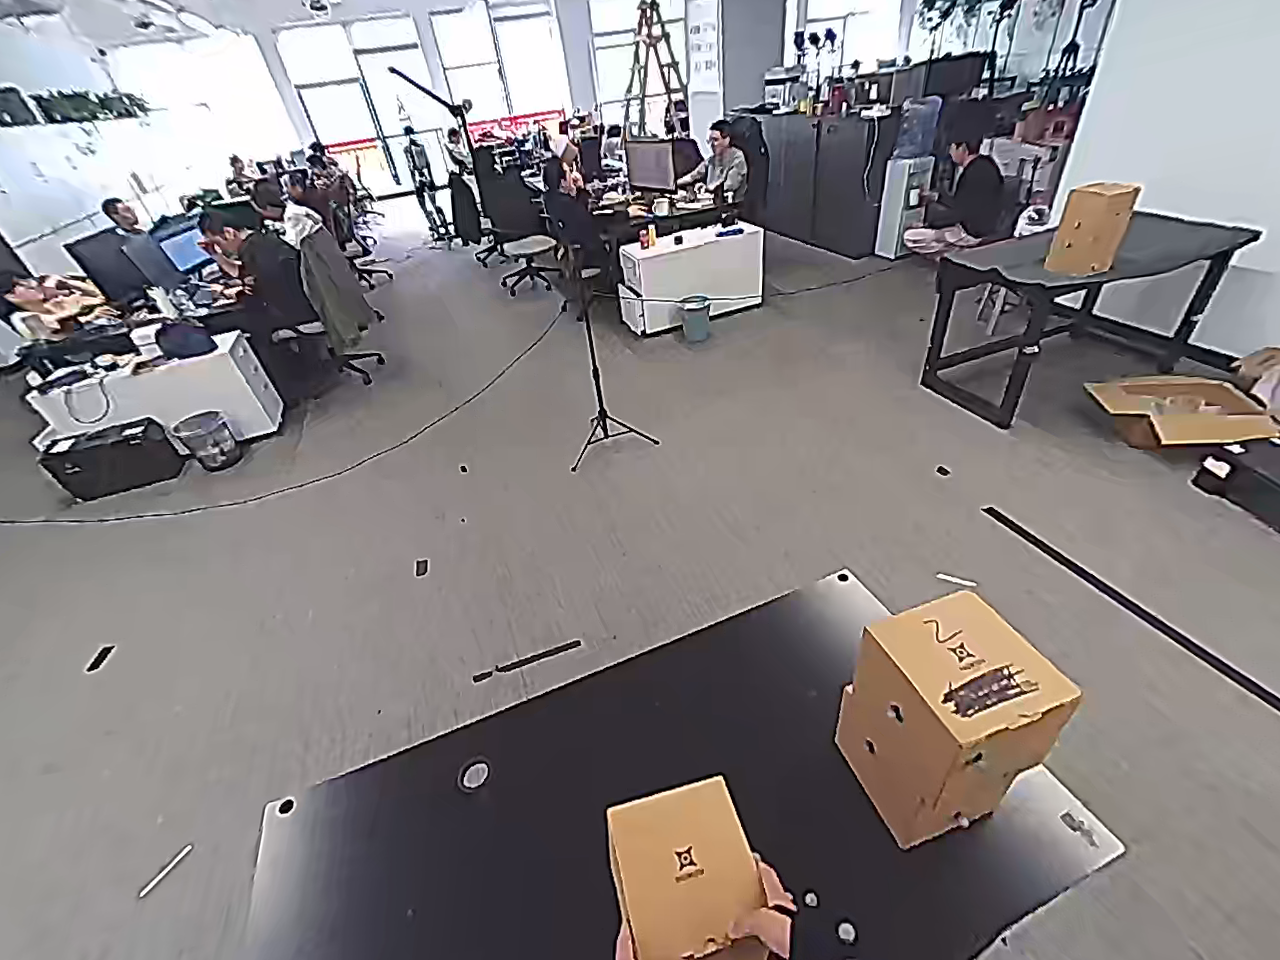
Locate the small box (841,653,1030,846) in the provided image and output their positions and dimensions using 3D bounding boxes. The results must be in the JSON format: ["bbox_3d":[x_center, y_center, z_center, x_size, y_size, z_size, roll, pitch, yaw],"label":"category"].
[{"bbox_3d":[0.423,0.401,0.811,0.168,0.176,0.179,-16,38,-9],"label":"small box"}]

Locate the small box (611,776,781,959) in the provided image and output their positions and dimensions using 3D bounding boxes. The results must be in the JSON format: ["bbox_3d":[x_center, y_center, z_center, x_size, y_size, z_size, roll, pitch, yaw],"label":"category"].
[{"bbox_3d":[0.058,0.529,0.701,0.168,0.176,0.179,-9,36,-12],"label":"small box"}]
